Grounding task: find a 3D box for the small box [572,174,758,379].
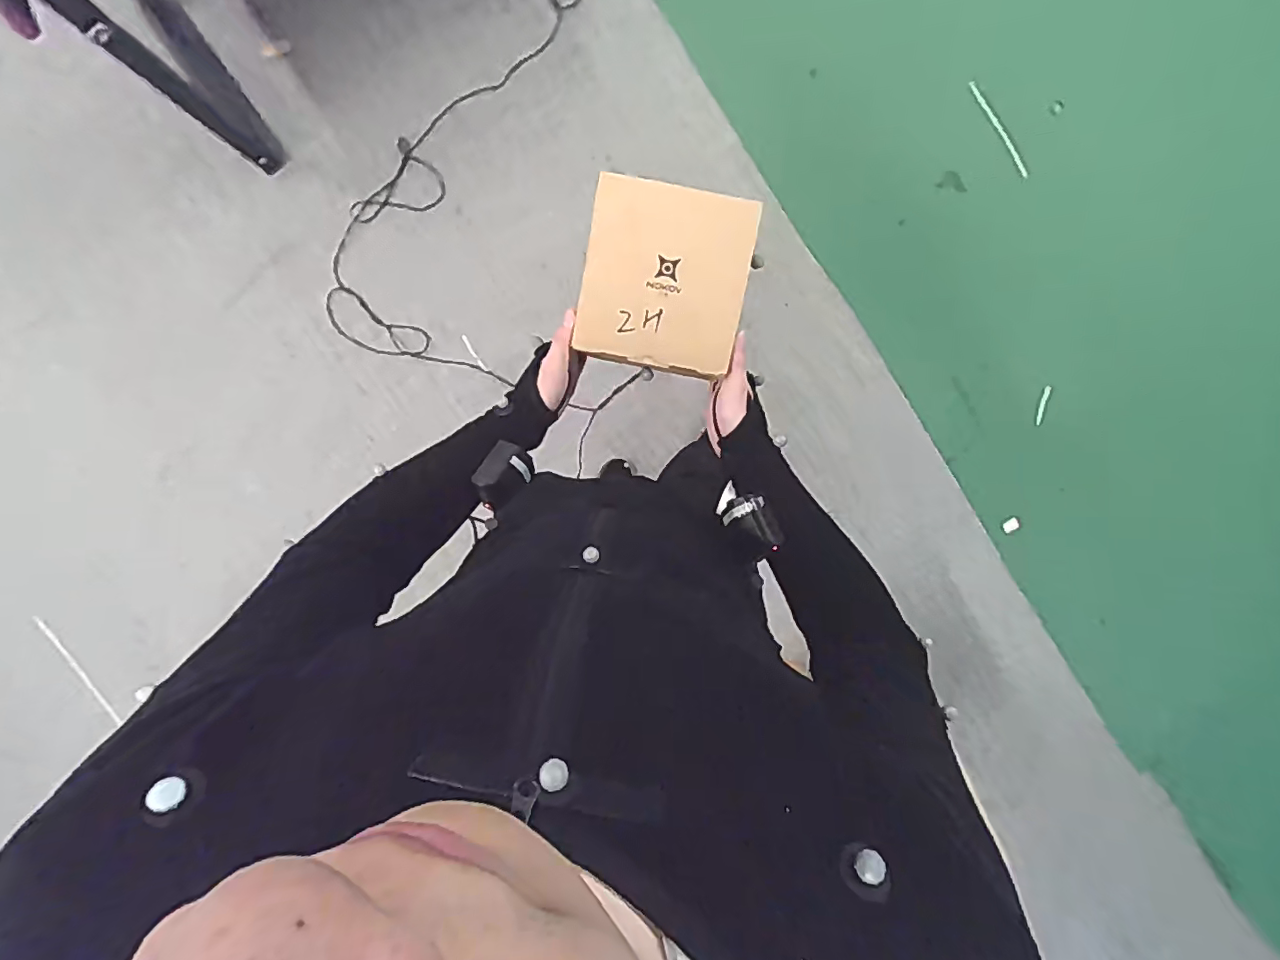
[{"bbox_3d":[0.024,-0.218,0.627,0.168,0.176,0.179,10,101,-1],"label":"small box"}]
